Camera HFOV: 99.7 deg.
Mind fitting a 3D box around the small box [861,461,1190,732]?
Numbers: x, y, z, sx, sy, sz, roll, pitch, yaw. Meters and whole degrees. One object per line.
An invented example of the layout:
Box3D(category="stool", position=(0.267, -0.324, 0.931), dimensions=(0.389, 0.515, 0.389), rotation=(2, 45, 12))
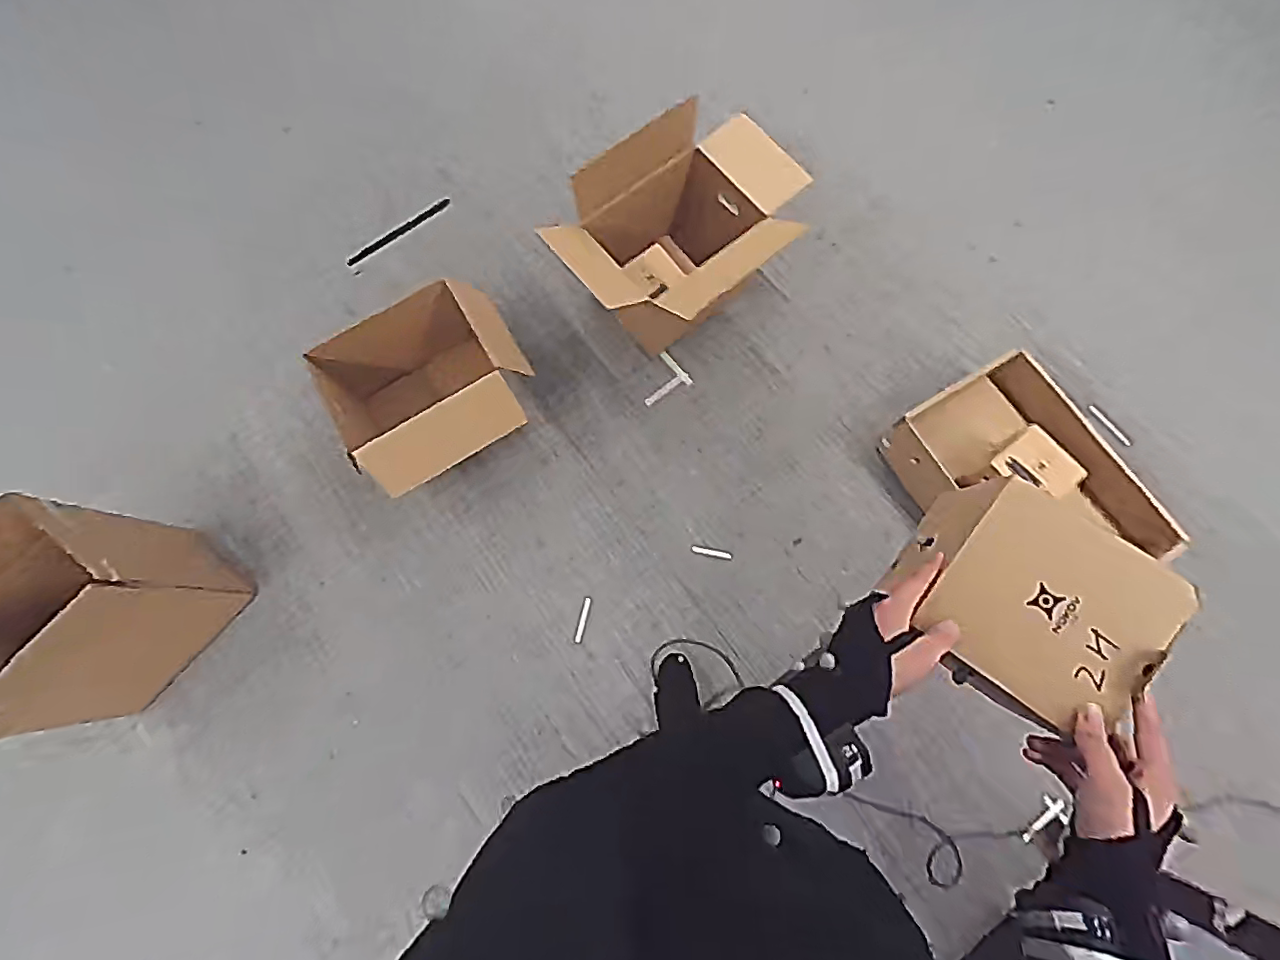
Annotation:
Box3D(category="small box", position=(0.353, 0.107, 0.540), dimensions=(0.179, 0.176, 0.168), rotation=(35, 89, 11))
